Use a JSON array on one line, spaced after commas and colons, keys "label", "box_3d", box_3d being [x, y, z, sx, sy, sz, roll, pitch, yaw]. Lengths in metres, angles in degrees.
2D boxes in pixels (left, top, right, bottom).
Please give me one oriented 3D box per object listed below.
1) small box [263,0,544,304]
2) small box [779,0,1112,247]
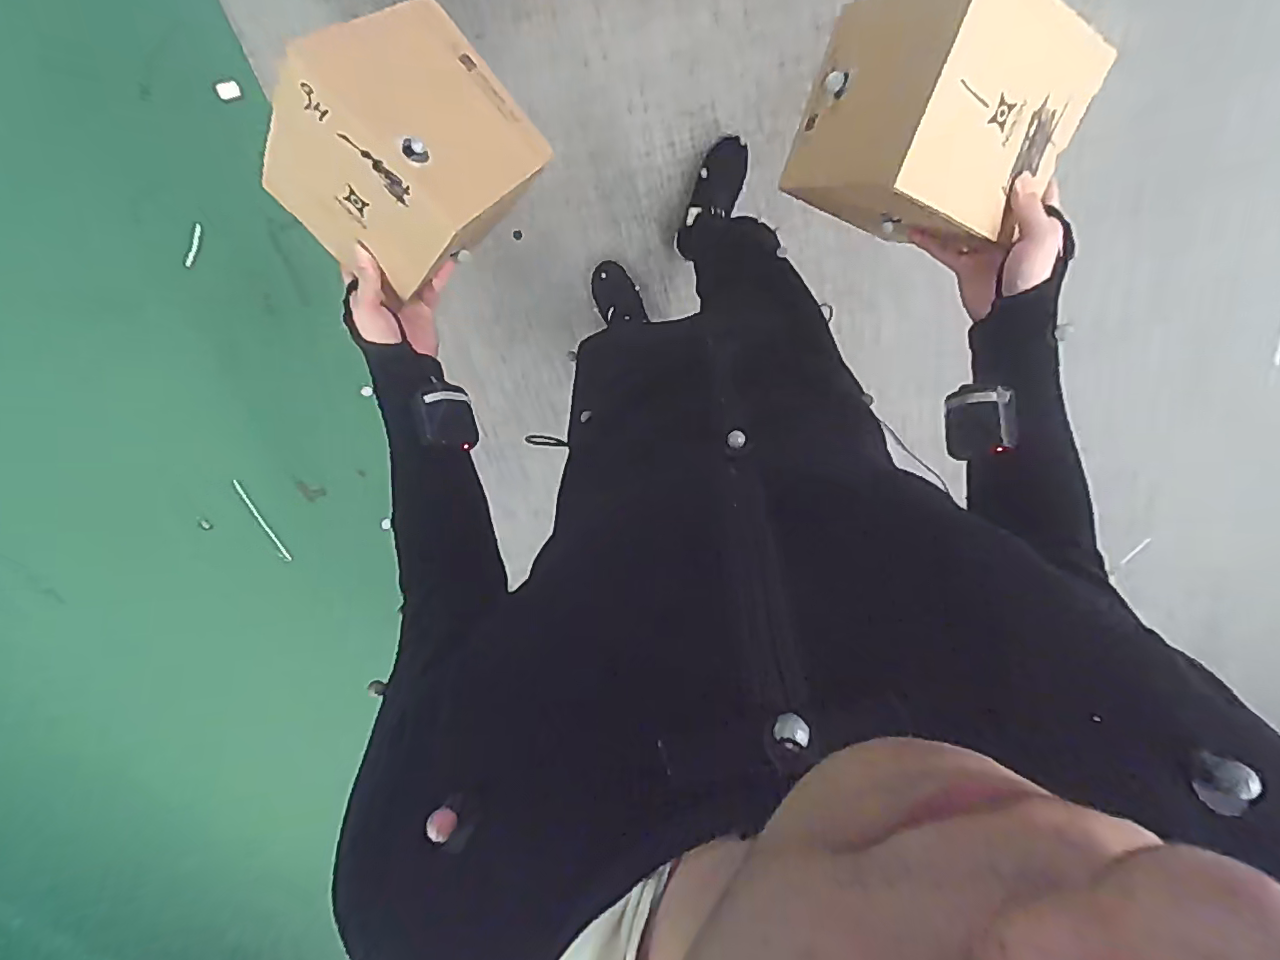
[{"label": "small box", "box_3d": [-0.226, -0.315, 0.535, 0.168, 0.176, 0.179, 47, 144, -21]}, {"label": "small box", "box_3d": [0.269, -0.337, 0.510, 0.179, 0.176, 0.168, 9, 111, -25]}]
